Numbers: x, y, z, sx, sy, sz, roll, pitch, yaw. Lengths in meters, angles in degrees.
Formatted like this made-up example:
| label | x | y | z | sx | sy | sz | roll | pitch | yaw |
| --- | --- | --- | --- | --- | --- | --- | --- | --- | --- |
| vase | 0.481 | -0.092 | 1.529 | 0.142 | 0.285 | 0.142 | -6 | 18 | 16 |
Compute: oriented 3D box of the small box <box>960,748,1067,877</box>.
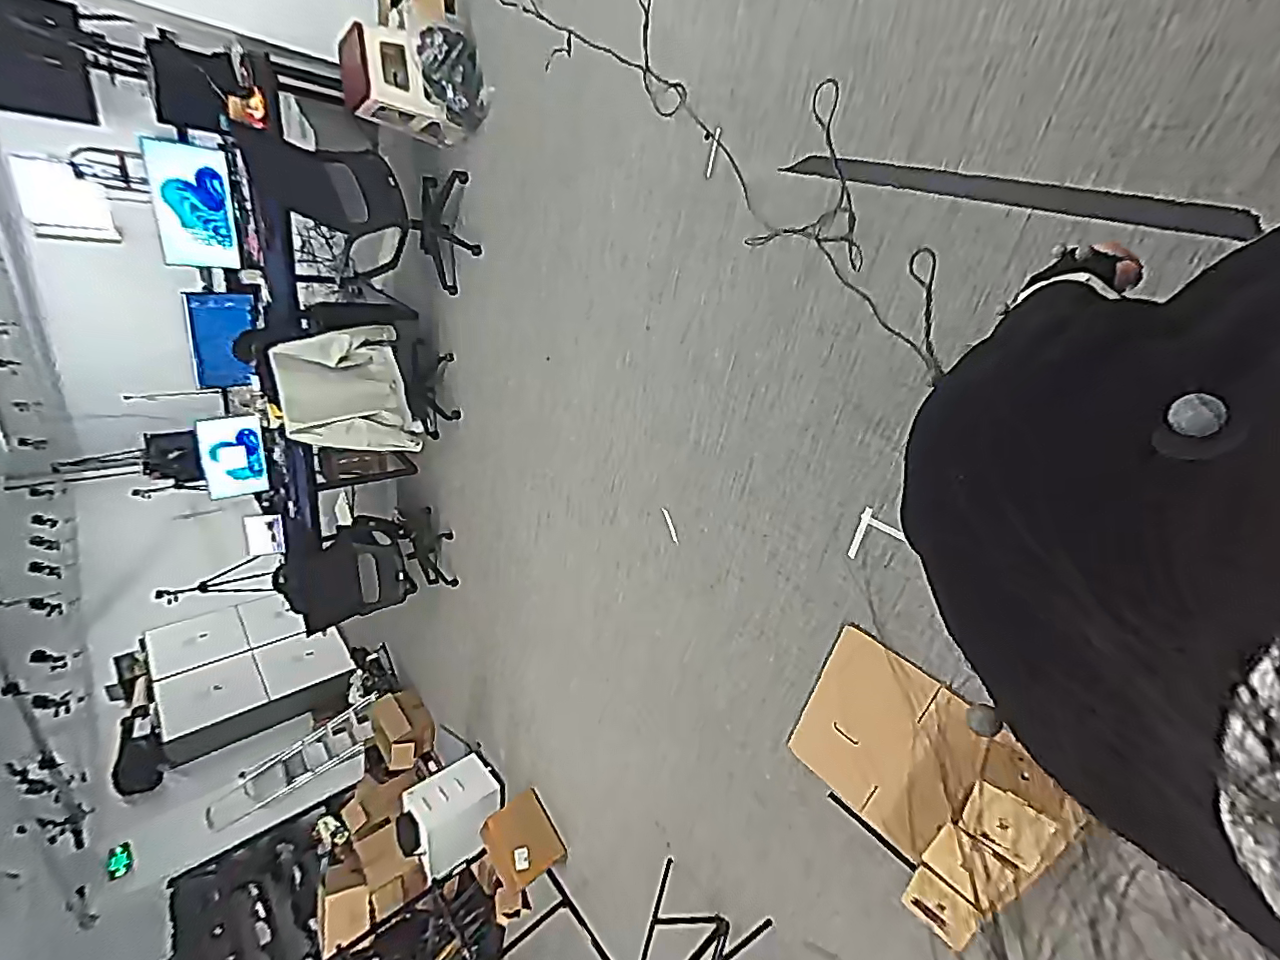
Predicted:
| label | x | y | z | sx | sy | sz | roll | pitch | yaw |
| --- | --- | --- | --- | --- | --- | --- | --- | --- | --- |
| small box | 0.929 | 0.811 | 1.342 | 0.168 | 0.176 | 0.179 | 24 | 117 | 41 |
